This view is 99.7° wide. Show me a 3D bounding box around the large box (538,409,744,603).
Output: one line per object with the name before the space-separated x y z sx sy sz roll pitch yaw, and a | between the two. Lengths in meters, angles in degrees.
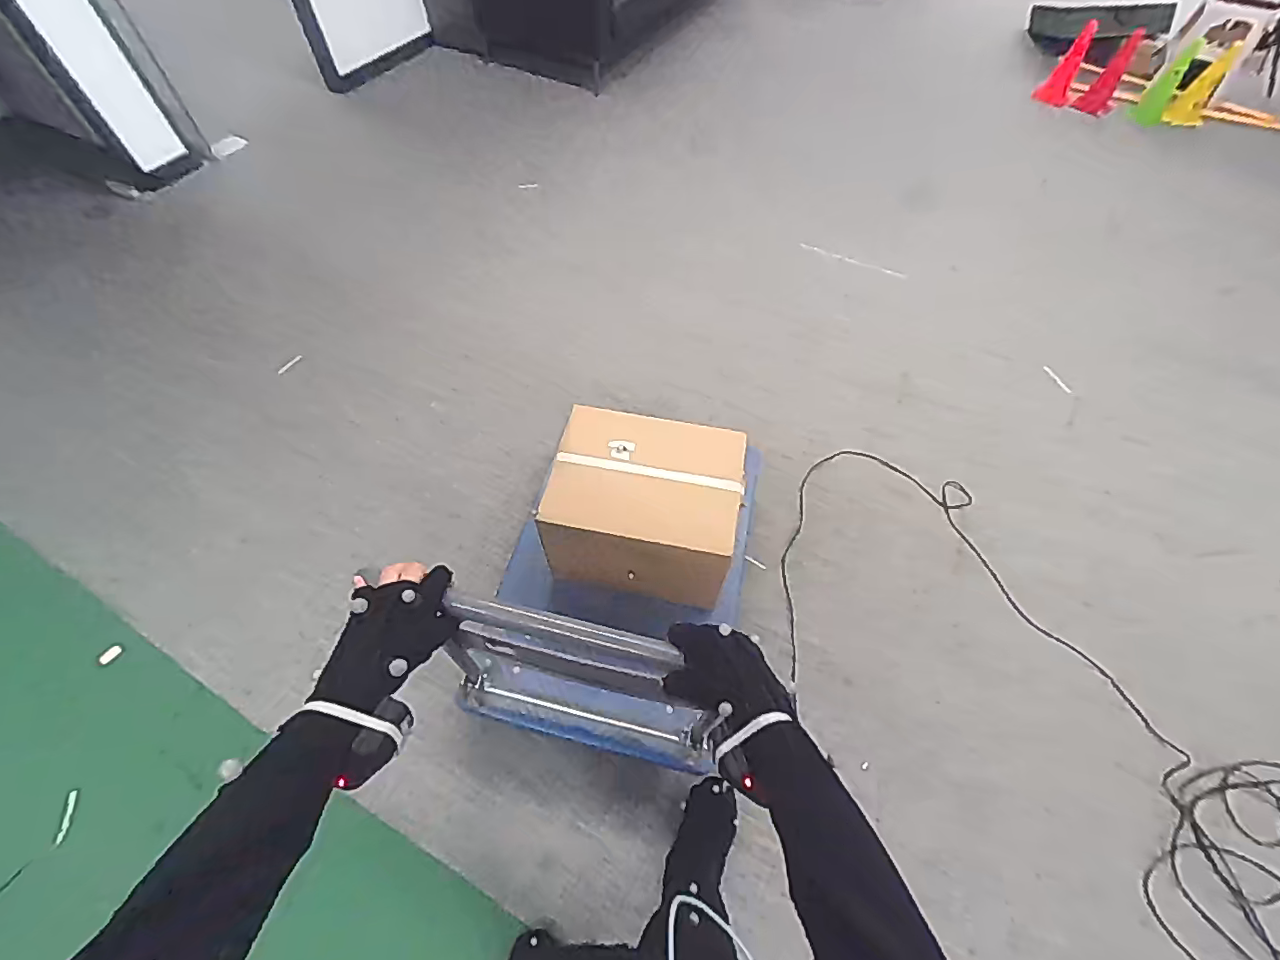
large box | 0.014 0.070 1.282 0.408 0.320 0.320 10 57 6
